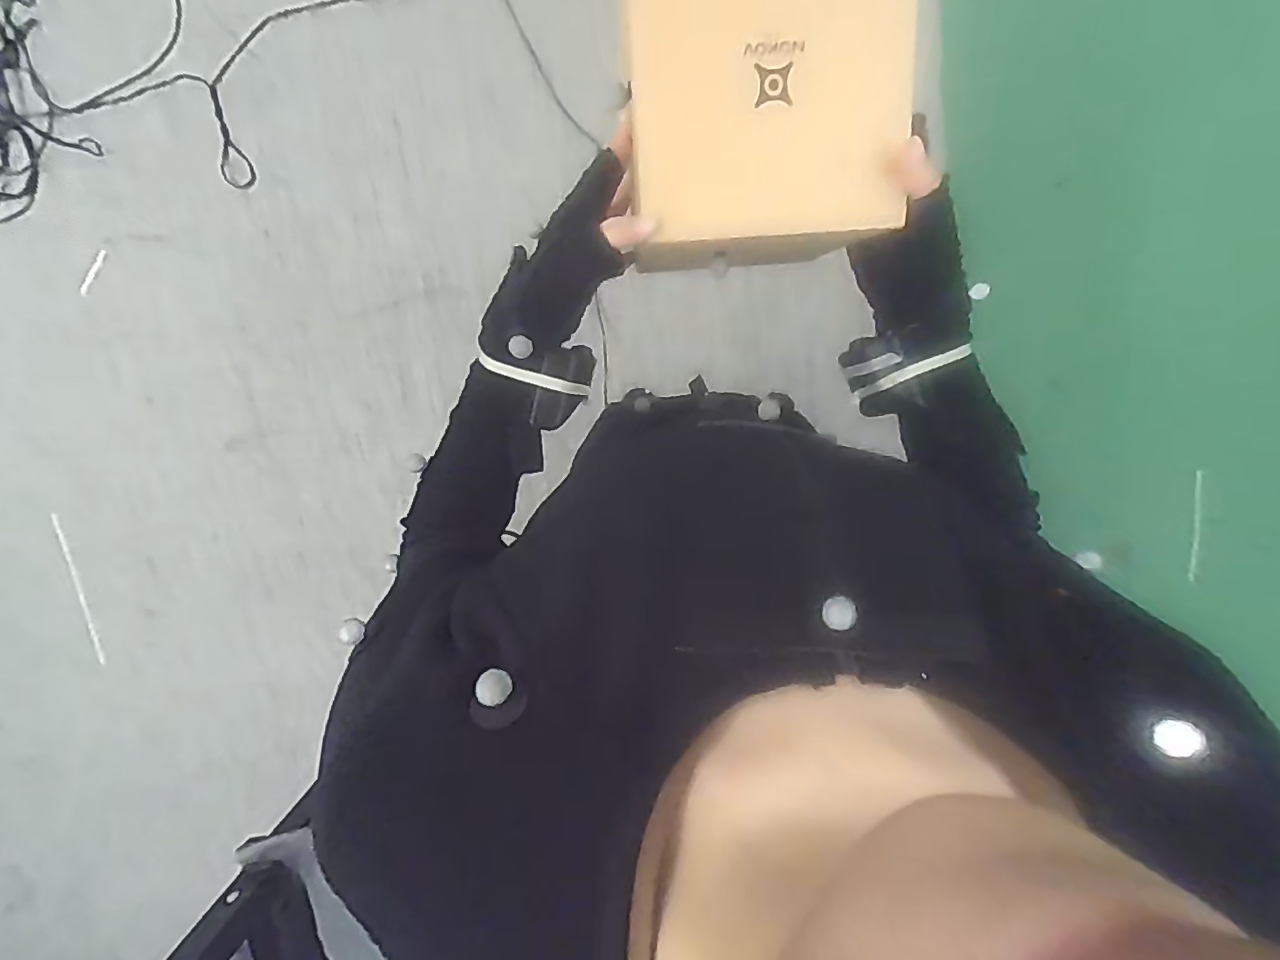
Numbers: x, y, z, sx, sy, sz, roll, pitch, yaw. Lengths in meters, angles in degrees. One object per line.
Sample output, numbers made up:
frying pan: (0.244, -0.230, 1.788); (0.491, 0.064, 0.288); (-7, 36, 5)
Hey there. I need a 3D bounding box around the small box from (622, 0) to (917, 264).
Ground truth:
small box: (0.075, -0.259, 0.389); (0.168, 0.176, 0.179); (-4, 103, -1)
